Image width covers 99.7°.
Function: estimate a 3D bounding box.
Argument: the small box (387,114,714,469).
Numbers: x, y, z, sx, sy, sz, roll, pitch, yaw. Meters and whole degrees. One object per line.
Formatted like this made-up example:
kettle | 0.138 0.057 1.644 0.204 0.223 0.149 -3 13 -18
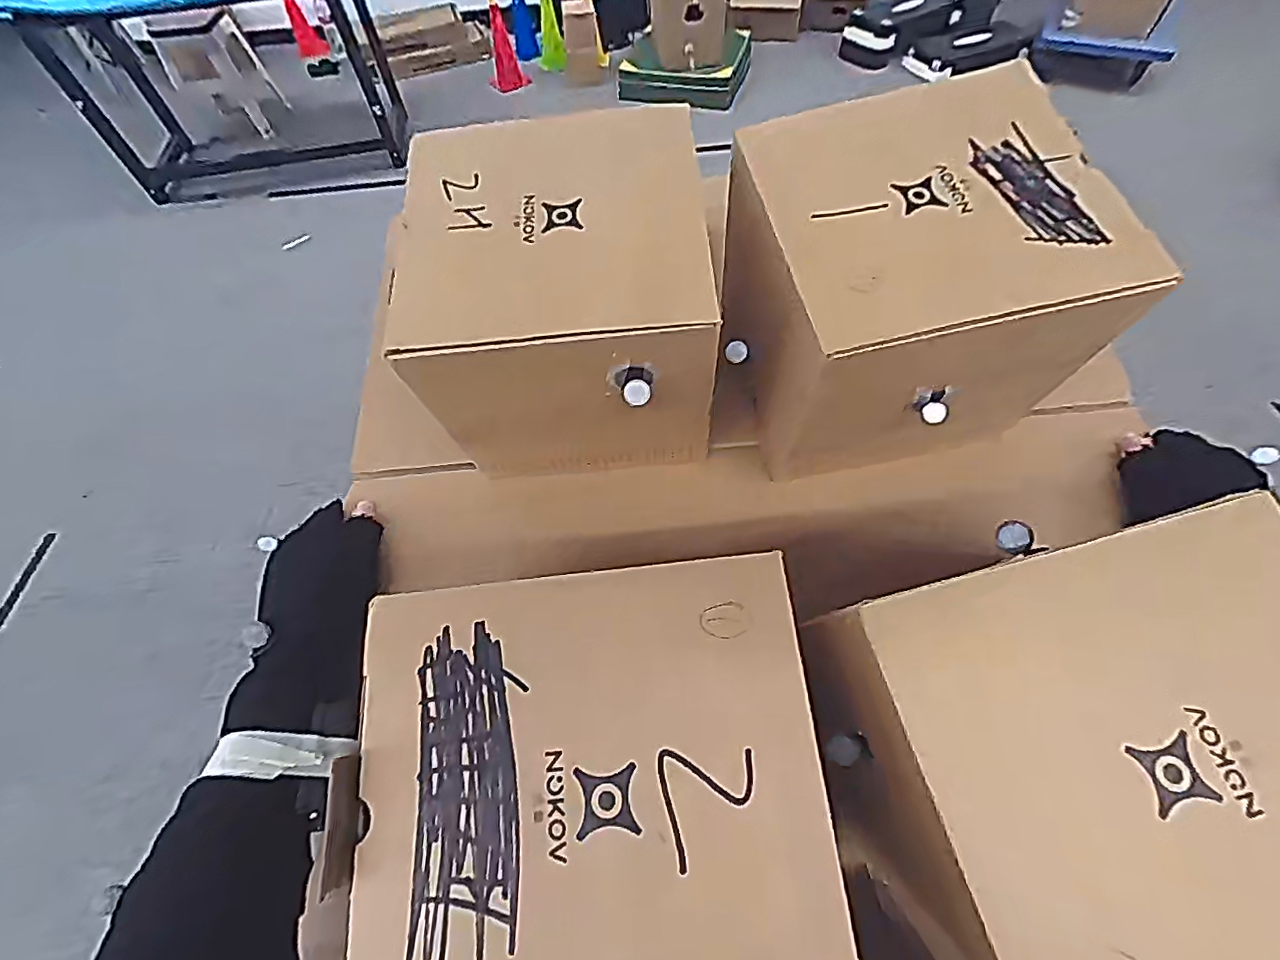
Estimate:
small box | -0.046 -0.117 0.385 0.179 0.176 0.168 -4 67 4
